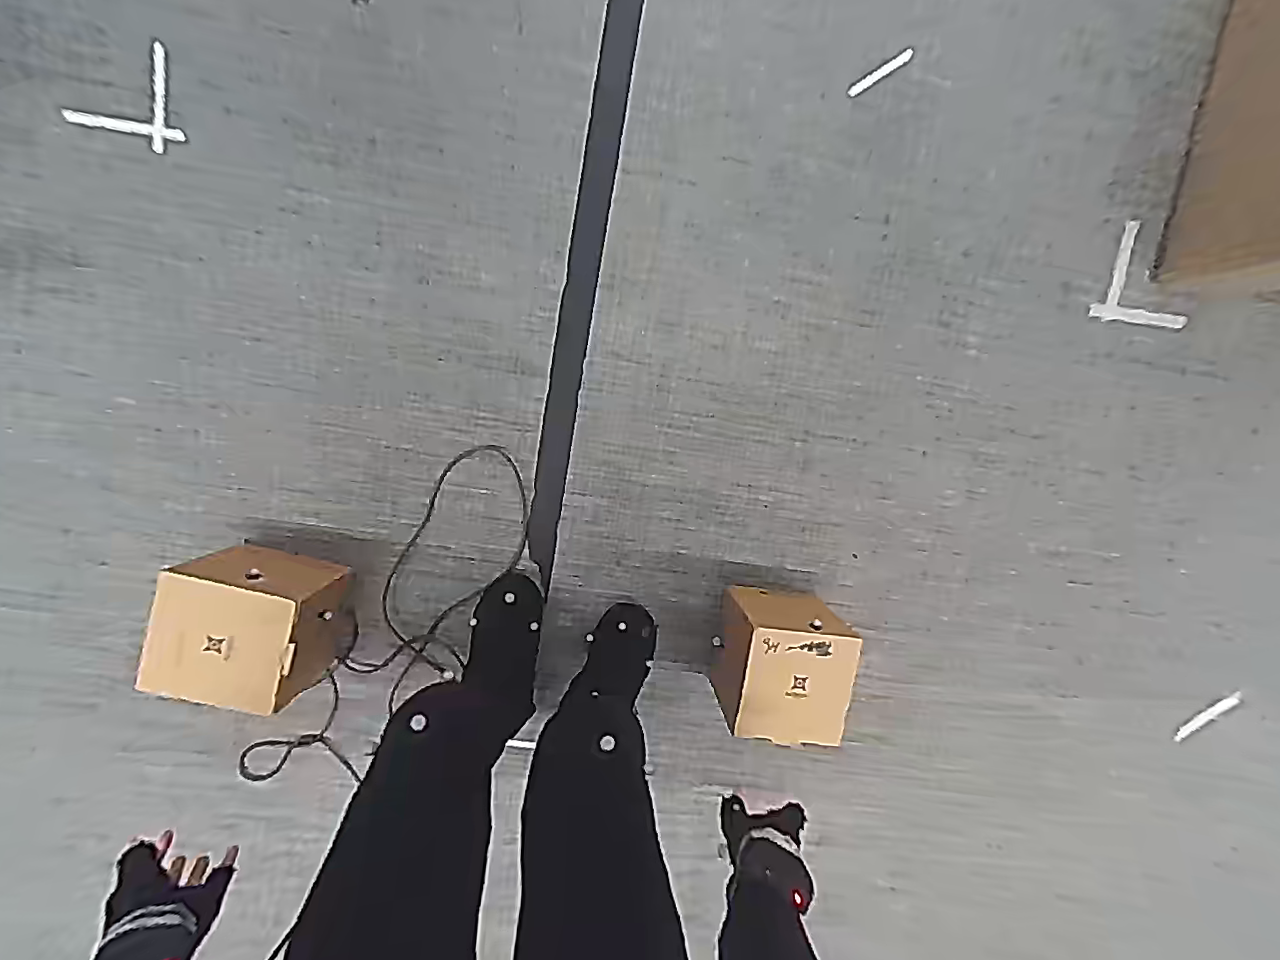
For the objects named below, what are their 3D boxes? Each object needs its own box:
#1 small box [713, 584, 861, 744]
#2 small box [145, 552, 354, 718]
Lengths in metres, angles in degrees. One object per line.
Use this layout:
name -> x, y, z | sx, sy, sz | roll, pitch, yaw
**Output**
small box -> 0.220, 0.284, 0.862 | 0.168, 0.176, 0.179 | 7, 99, -6
small box -> -0.550, 0.213, 0.788 | 0.179, 0.176, 0.168 | 14, 94, -4
